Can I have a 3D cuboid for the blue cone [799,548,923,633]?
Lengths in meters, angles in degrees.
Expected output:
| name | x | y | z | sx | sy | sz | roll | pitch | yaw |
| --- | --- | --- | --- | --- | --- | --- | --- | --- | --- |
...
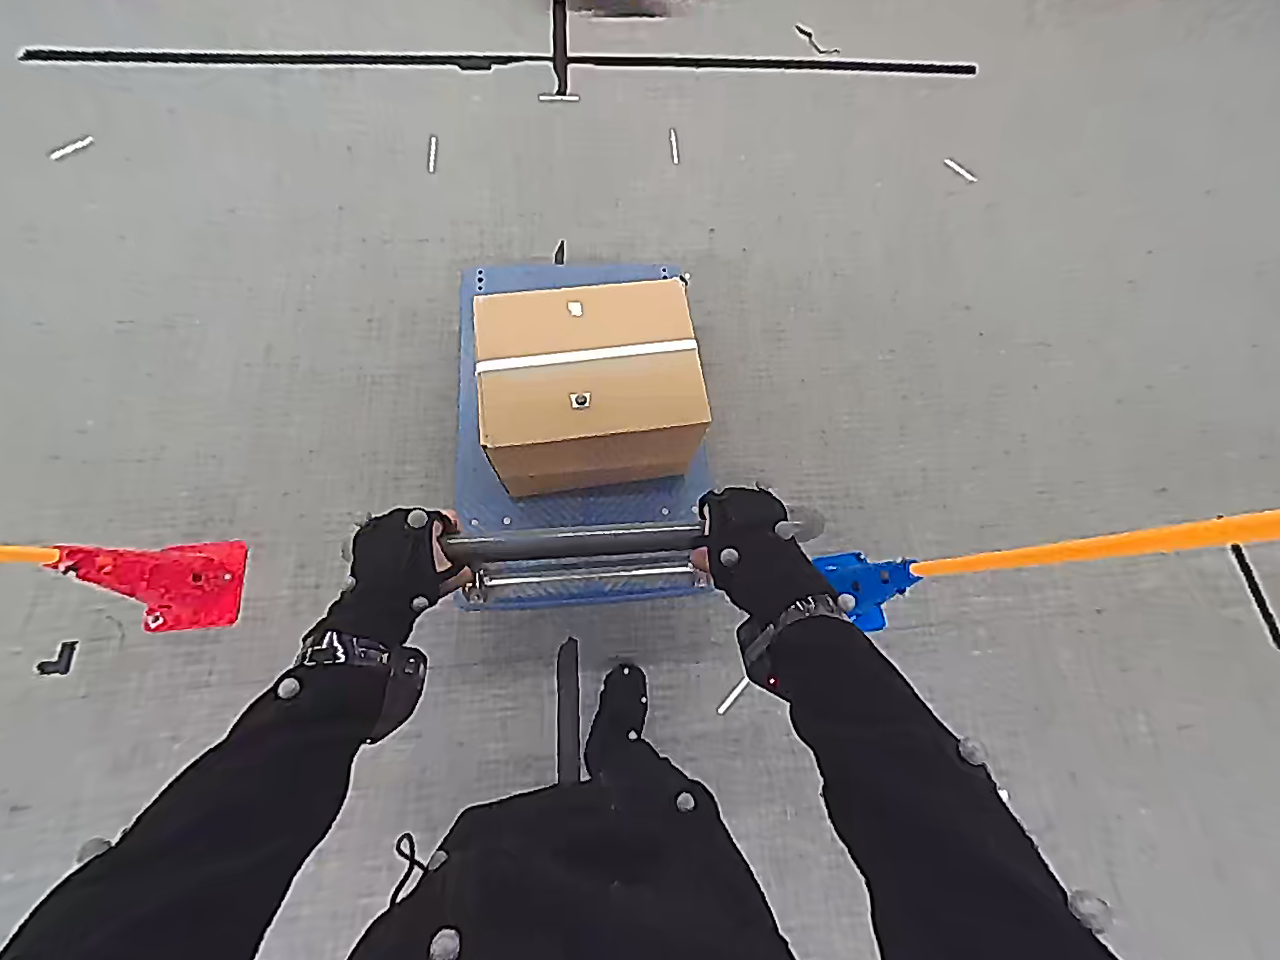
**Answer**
| name | x | y | z | sx | sy | sz | roll | pitch | yaw |
| --- | --- | --- | --- | --- | --- | --- | --- | --- | --- |
| blue cone | 0.520 | 0.224 | 1.211 | 0.193 | 0.380 | 0.192 | -7 | 70 | -7 |
